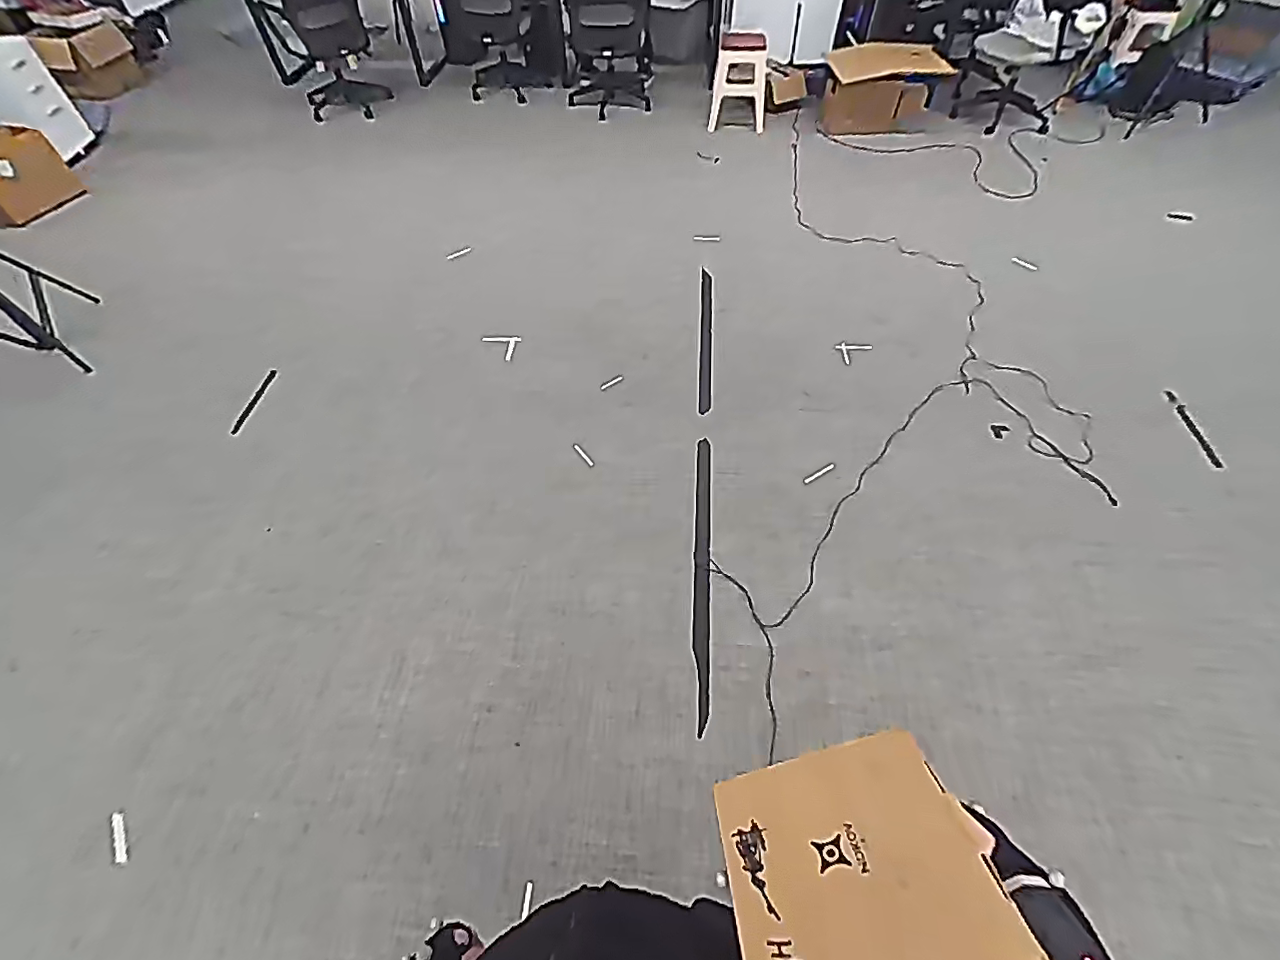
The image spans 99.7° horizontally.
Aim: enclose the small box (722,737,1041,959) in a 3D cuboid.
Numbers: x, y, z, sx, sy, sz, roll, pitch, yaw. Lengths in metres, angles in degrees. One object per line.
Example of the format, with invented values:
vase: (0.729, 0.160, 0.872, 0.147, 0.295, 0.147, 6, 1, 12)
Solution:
small box: (0.181, 0.348, 0.429, 0.179, 0.176, 0.168, -18, 19, 6)
